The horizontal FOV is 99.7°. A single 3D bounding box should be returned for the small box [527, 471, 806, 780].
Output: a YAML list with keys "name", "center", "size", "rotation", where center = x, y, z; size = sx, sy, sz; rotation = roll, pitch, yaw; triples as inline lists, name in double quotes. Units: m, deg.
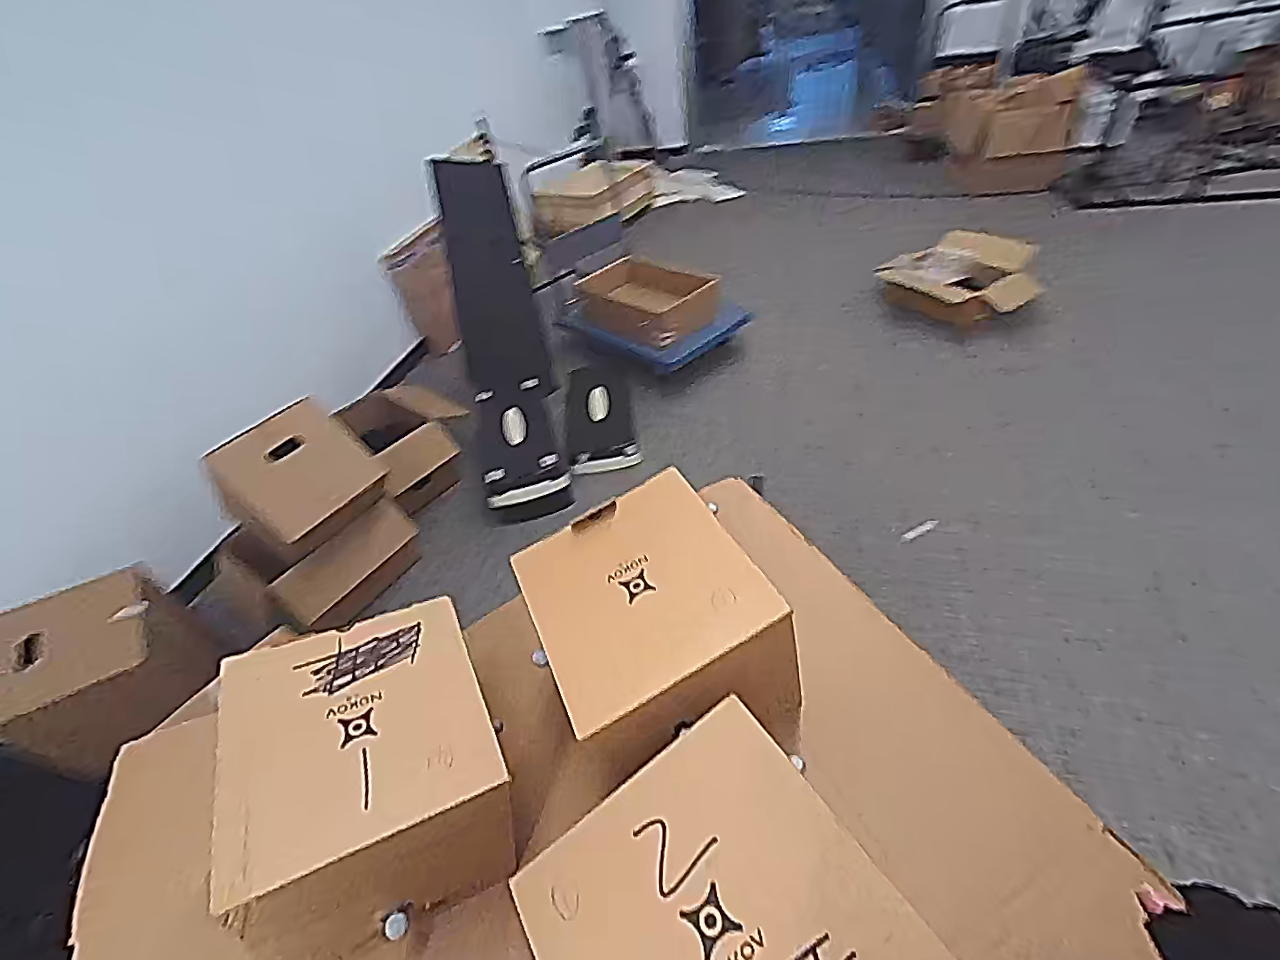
- name: "small box"
  center: [0.027, 0.132, 0.473]
  size: [0.168, 0.176, 0.179]
  rotation: [-28, 43, -7]
